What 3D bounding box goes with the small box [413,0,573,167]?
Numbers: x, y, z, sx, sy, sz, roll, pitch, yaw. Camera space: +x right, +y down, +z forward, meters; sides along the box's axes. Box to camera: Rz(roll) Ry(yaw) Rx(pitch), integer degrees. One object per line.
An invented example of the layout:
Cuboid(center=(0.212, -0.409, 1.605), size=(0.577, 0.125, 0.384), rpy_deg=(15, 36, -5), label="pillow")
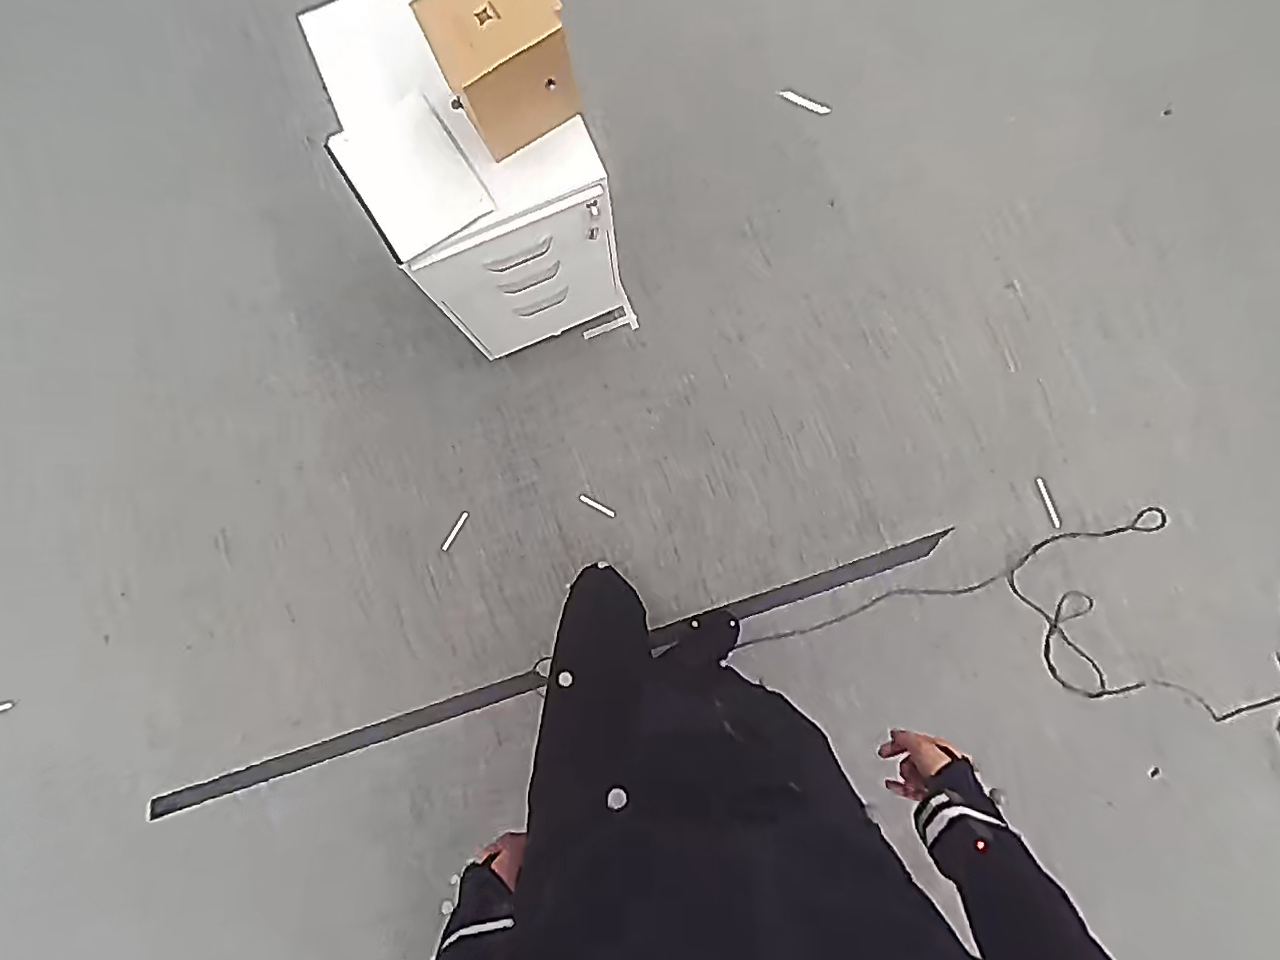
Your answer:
Cuboid(center=(-0.223, -0.663, 0.878), size=(0.179, 0.176, 0.168), rpy_deg=(-32, 84, -1), label="small box")
